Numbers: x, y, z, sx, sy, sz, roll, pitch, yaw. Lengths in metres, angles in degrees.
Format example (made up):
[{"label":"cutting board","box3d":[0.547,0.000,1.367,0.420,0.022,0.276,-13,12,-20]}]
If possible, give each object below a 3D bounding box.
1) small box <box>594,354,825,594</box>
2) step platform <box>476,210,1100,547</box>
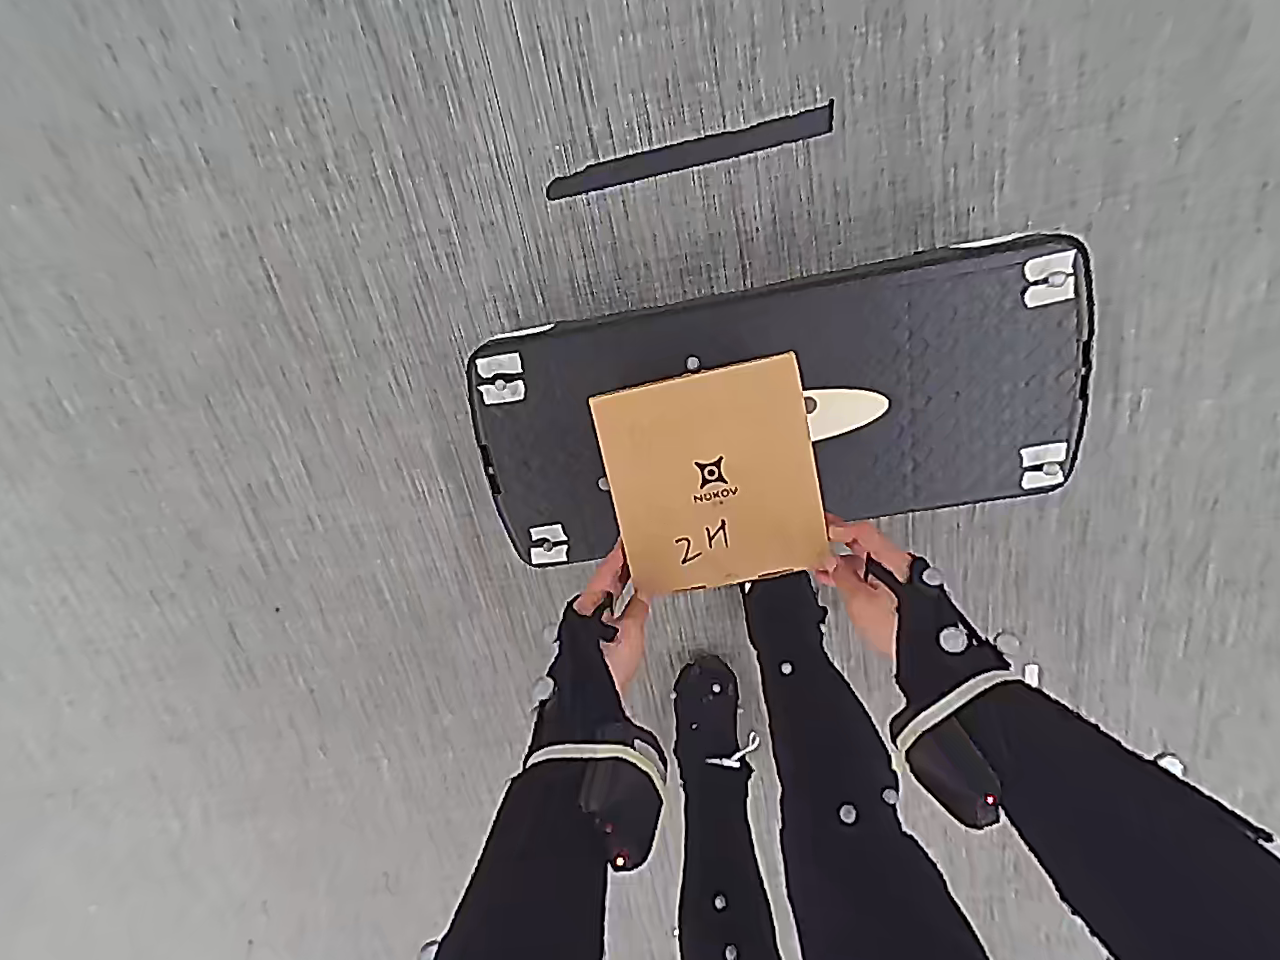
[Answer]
[{"label":"small box","box3d":[0.063,-0.014,0.518,0.168,0.176,0.179,-11,100,7]},{"label":"step platform","box3d":[0.155,-0.116,0.673,0.684,0.204,0.286,-9,107,6]}]
